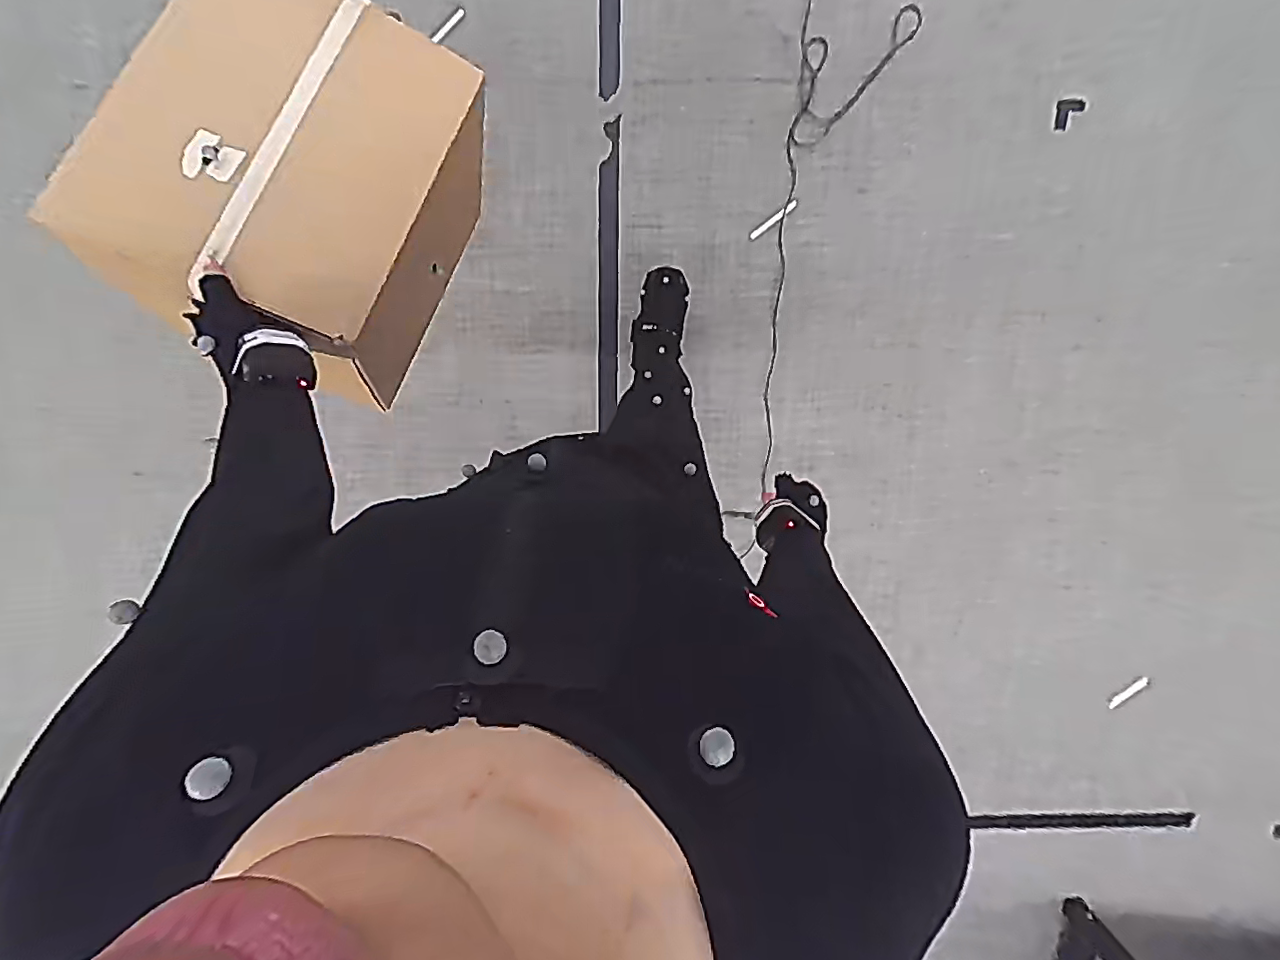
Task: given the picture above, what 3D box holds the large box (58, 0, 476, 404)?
[{"bbox_3d":[-0.451,-0.376,0.773,0.320,0.320,0.408,21,78,-13],"label":"large box"}]
